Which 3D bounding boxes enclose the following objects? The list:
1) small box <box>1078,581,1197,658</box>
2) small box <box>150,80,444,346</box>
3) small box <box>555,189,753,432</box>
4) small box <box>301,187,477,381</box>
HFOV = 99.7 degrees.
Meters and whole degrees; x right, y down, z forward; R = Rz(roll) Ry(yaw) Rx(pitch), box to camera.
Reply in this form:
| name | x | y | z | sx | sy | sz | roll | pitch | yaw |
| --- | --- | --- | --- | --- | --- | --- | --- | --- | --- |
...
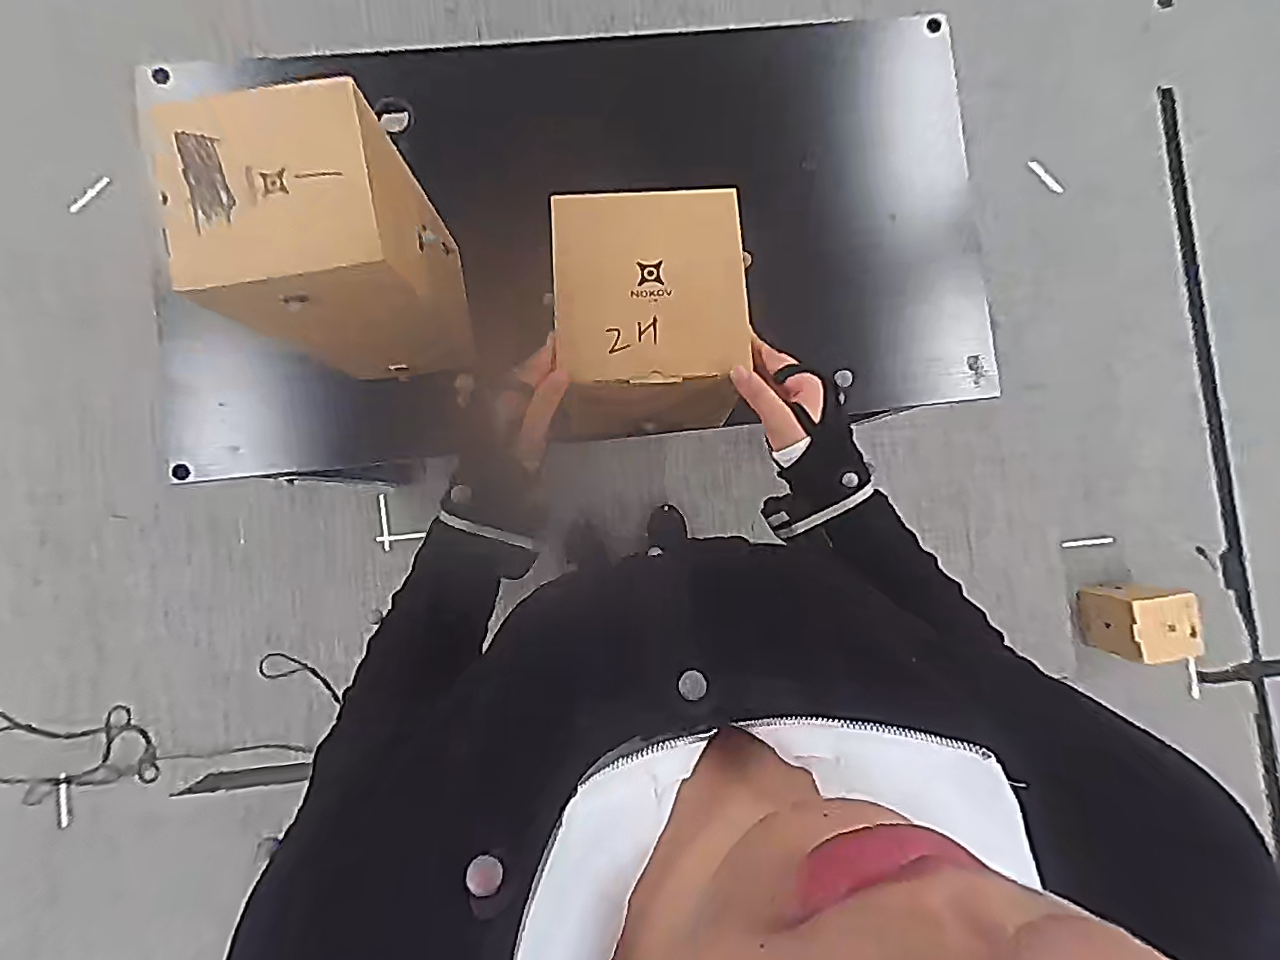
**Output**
| name | x | y | z | sx | sy | sz | roll | pitch | yaw |
| --- | --- | --- | --- | --- | --- | --- | --- | --- | --- |
| small box | 1.357 | 0.378 | 1.492 | 0.179 | 0.176 | 0.168 | -7 | 88 | -3 |
| small box | -0.318 | -0.244 | 0.536 | 0.179 | 0.176 | 0.168 | -11 | 88 | -3 |
| small box | 0.008 | -0.156 | 0.541 | 0.168 | 0.176 | 0.179 | -3 | 81 | -1 |
| small box | -0.324 | -0.241 | 0.700 | 0.168 | 0.176 | 0.179 | -10 | 89 | -2 |
